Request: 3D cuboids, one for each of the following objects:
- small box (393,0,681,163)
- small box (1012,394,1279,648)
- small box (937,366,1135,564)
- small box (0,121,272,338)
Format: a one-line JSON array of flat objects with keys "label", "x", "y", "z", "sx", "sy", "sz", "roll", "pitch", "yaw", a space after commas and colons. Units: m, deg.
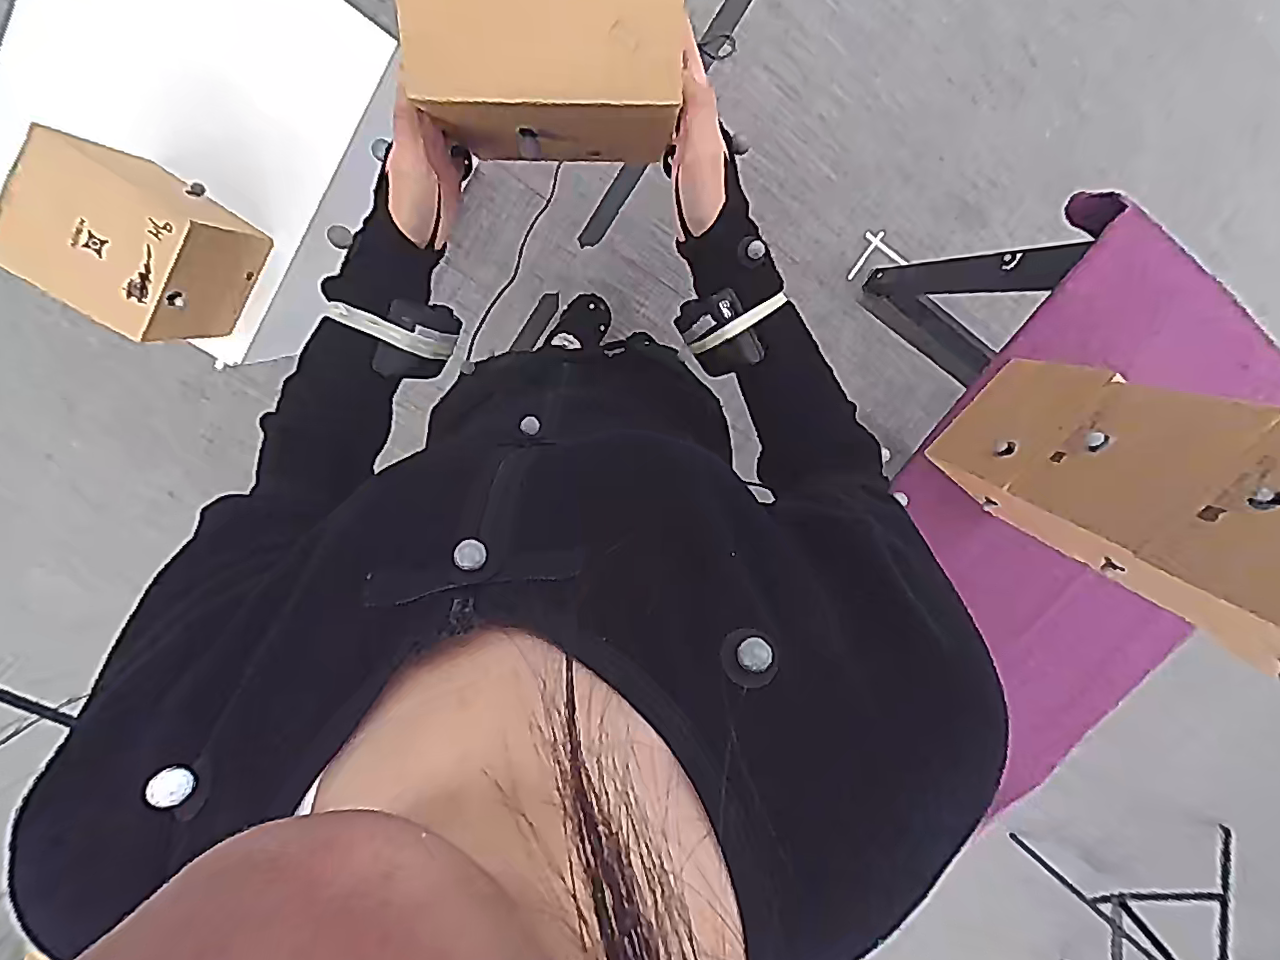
[{"label": "small box", "x": -0.058, "y": -0.330, "z": 0.368, "sx": 0.168, "sy": 0.176, "sz": 0.179, "roll": 0, "pitch": 109, "yaw": -2}, {"label": "small box", "x": 0.550, "y": 0.029, "z": 0.560, "sx": 0.179, "sy": 0.176, "sz": 0.168, "roll": 36, "pitch": 102, "yaw": -13}, {"label": "small box", "x": 0.533, "y": -0.029, "z": 0.713, "sx": 0.168, "sy": 0.176, "sz": 0.179, "roll": 36, "pitch": 101, "yaw": -14}, {"label": "small box", "x": -0.626, "y": -0.297, "z": 0.685, "sx": 0.179, "sy": 0.176, "sz": 0.168, "roll": 33, "pitch": 102, "yaw": -12}]
